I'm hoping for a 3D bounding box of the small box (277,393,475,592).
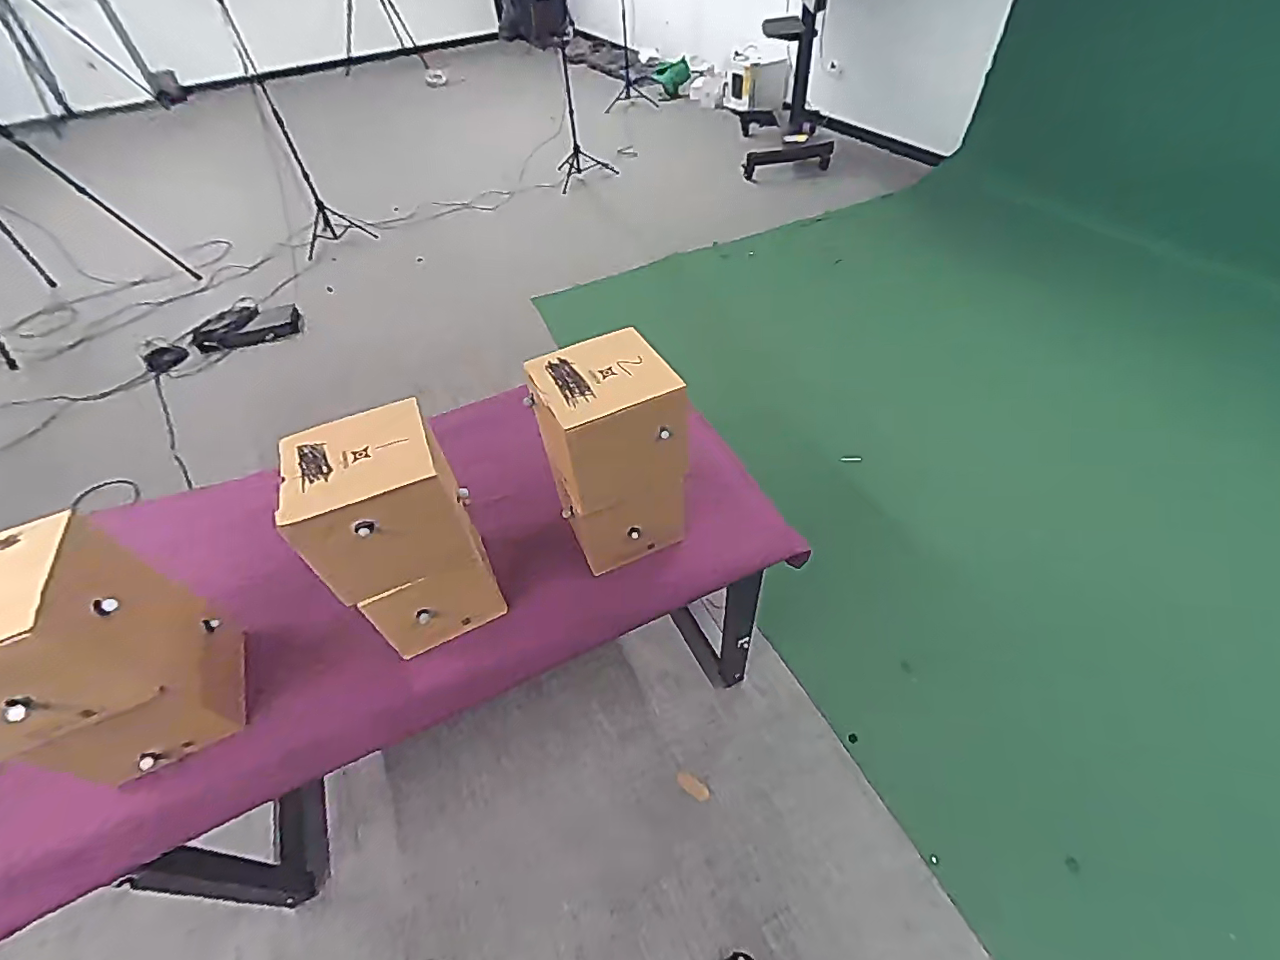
[{"bbox_3d":[-0.339,0.019,0.714,0.179,0.176,0.168,-20,48,-13],"label":"small box"}]

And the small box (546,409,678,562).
[{"bbox_3d":[-0.042,0.016,0.909,0.168,0.176,0.179,-20,49,-13],"label":"small box"}]

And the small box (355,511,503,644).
[{"bbox_3d":[-0.328,0.128,0.836,0.168,0.176,0.179,-23,49,-15],"label":"small box"}]

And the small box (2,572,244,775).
[{"bbox_3d":[-0.679,0.265,0.741,0.168,0.176,0.179,-23,51,-15],"label":"small box"}]

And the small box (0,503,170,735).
[{"bbox_3d":[-0.684,0.163,0.612,0.168,0.176,0.179,-22,51,-14],"label":"small box"}]
